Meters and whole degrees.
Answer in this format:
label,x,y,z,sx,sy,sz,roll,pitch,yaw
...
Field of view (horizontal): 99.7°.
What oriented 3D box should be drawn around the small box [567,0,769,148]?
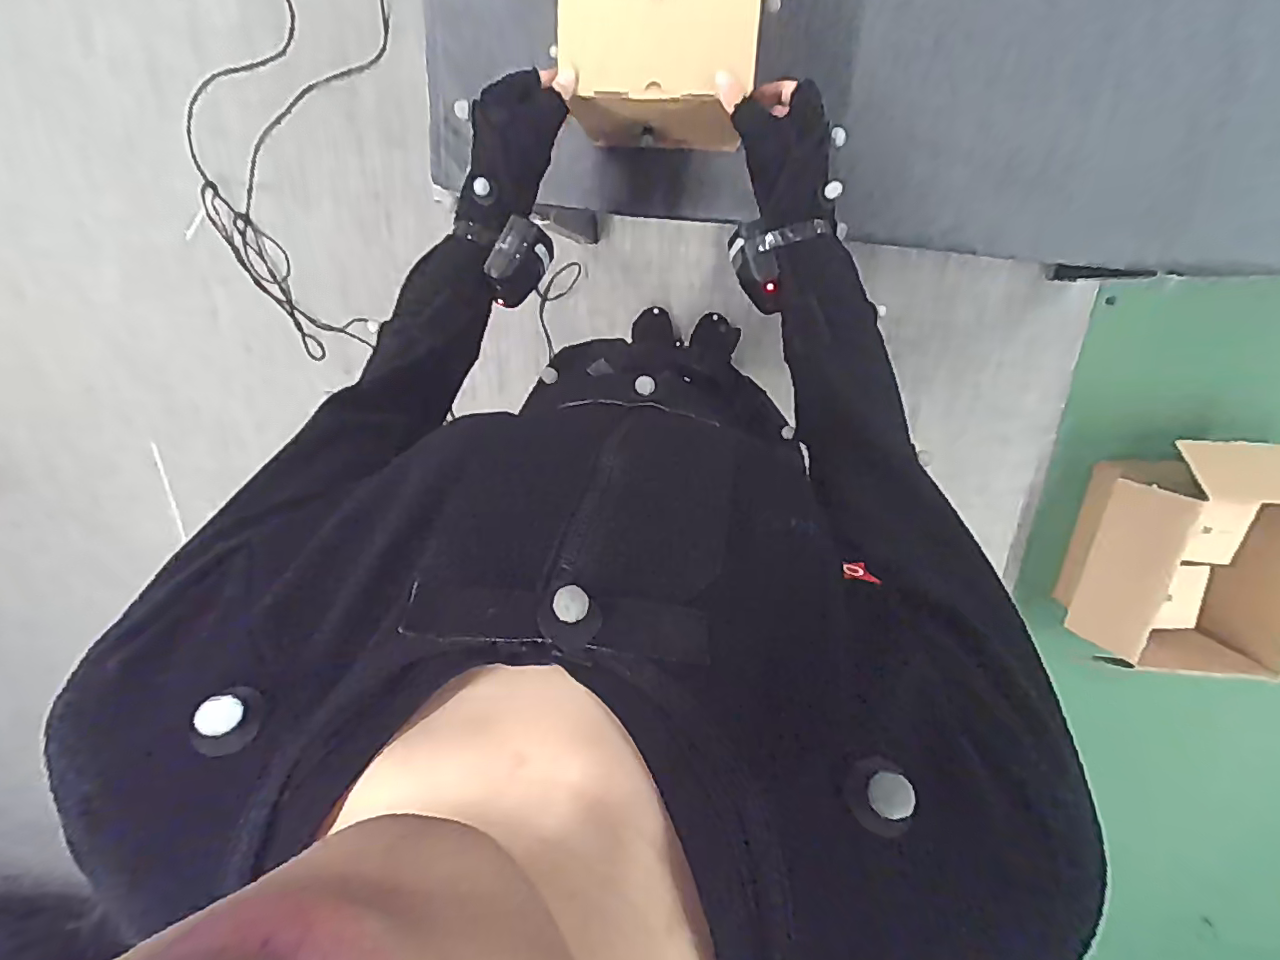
label,x,y,z,sx,sy,sz,roll,pitch,yaw
small box,0.030,-0.434,0.504,0.168,0.176,0.179,4,110,4
